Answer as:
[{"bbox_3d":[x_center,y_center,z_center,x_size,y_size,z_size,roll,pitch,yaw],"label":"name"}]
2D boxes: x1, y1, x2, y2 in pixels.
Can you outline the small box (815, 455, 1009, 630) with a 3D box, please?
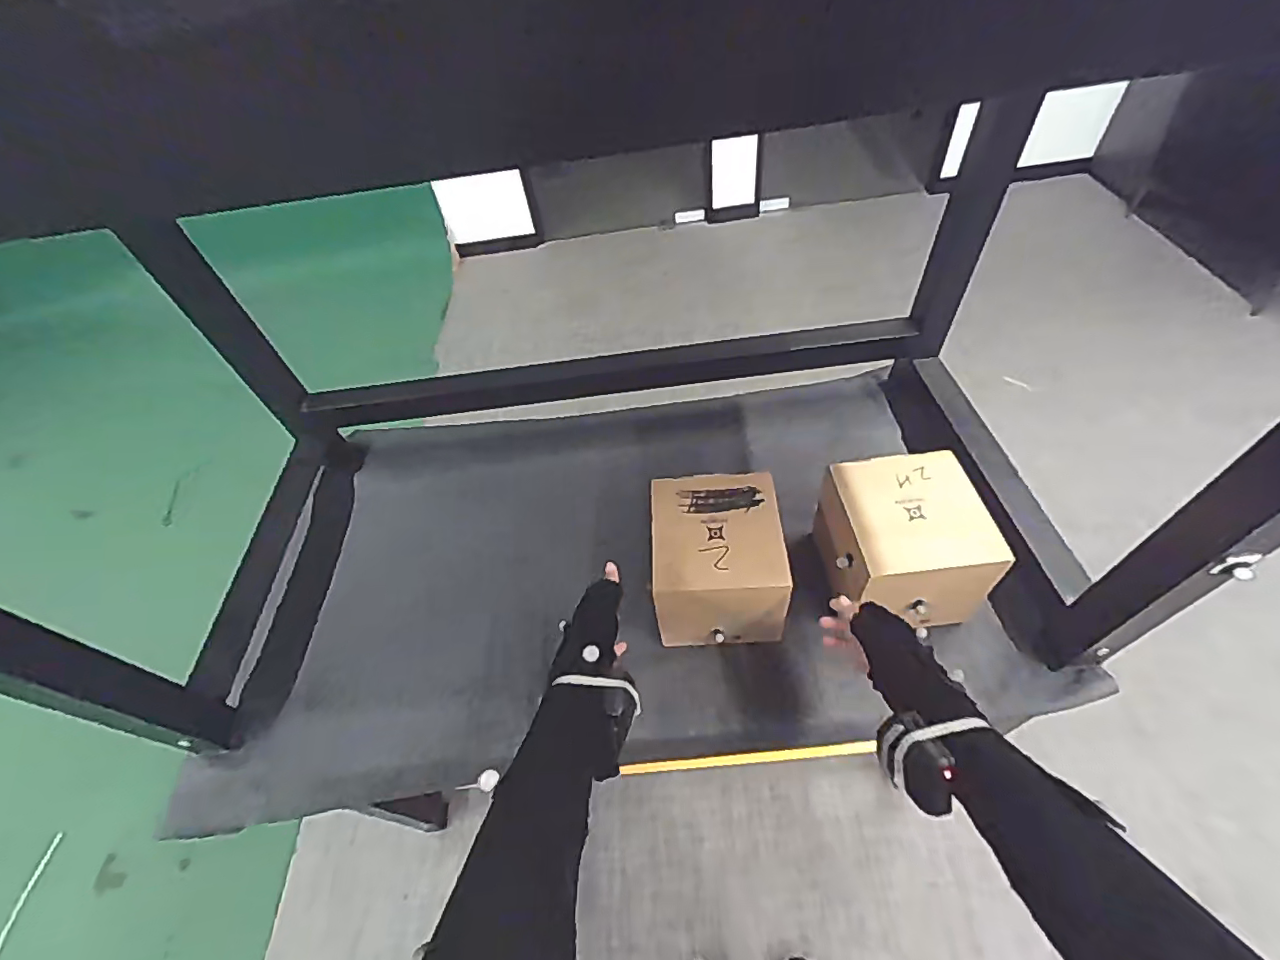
[{"bbox_3d":[0.349,0.092,0.737,0.168,0.176,0.179,-7,49,2],"label":"small box"}]
